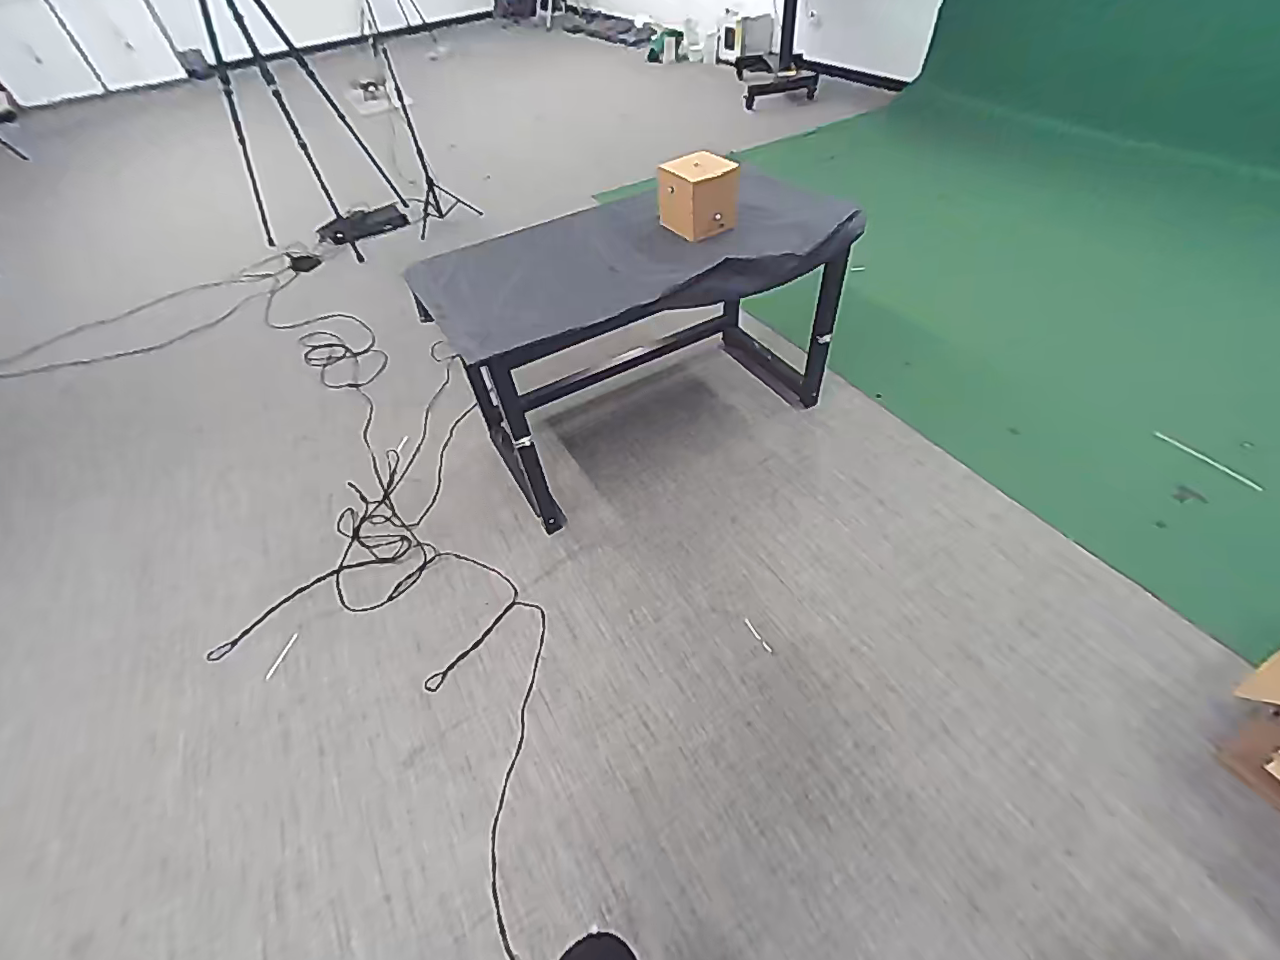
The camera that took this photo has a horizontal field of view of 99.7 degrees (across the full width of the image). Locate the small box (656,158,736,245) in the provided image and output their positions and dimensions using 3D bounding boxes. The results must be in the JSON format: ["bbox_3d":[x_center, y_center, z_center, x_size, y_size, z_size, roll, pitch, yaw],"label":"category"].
[{"bbox_3d":[0.161,-0.815,1.585,0.168,0.176,0.179,-28,52,-18],"label":"small box"}]
